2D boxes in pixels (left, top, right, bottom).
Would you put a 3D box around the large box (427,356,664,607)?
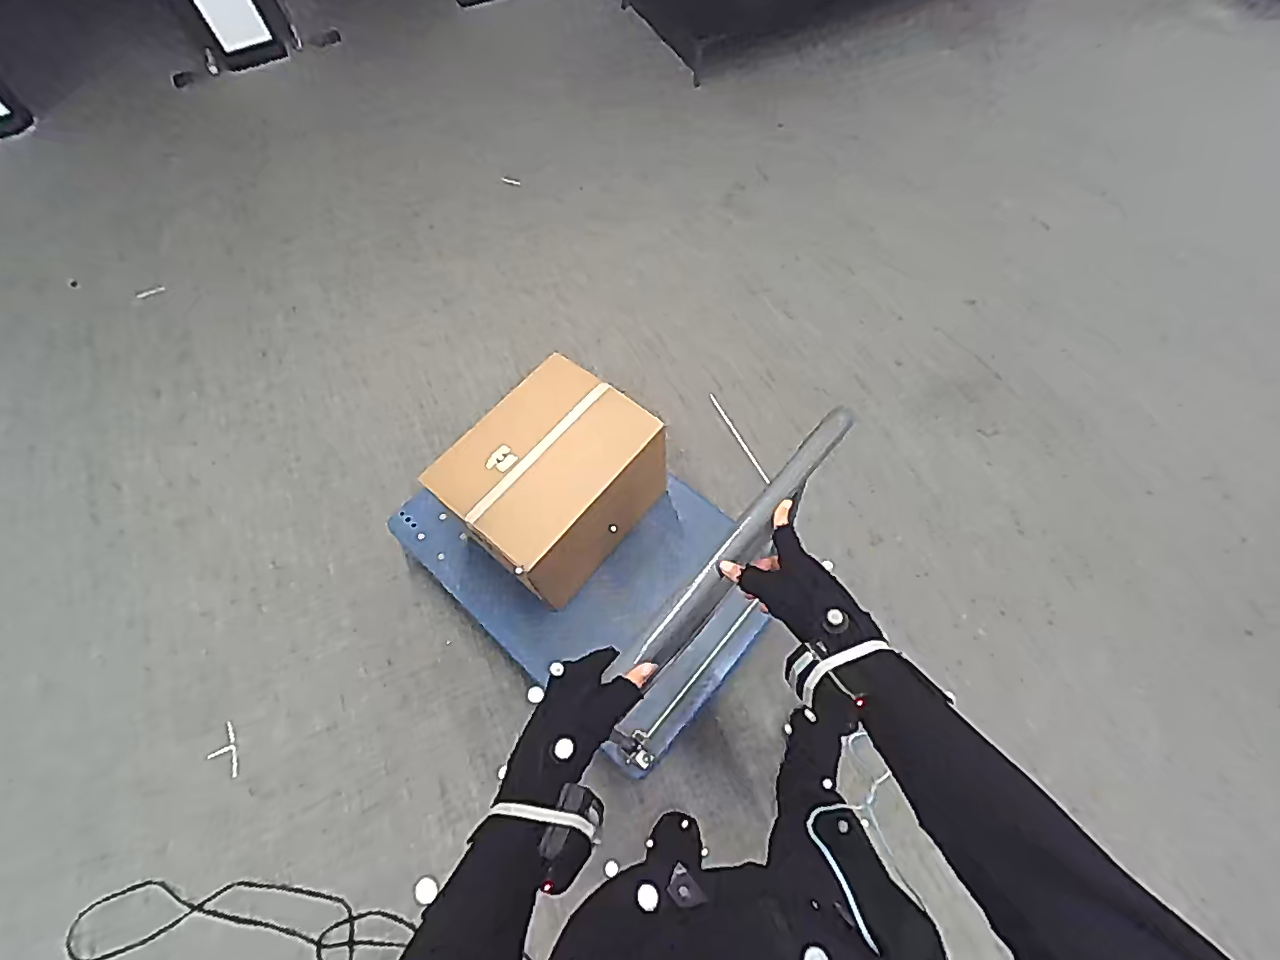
[{"bbox_3d":[-0.180,0.011,1.224,0.320,0.320,0.408,34,71,19],"label":"large box"}]
